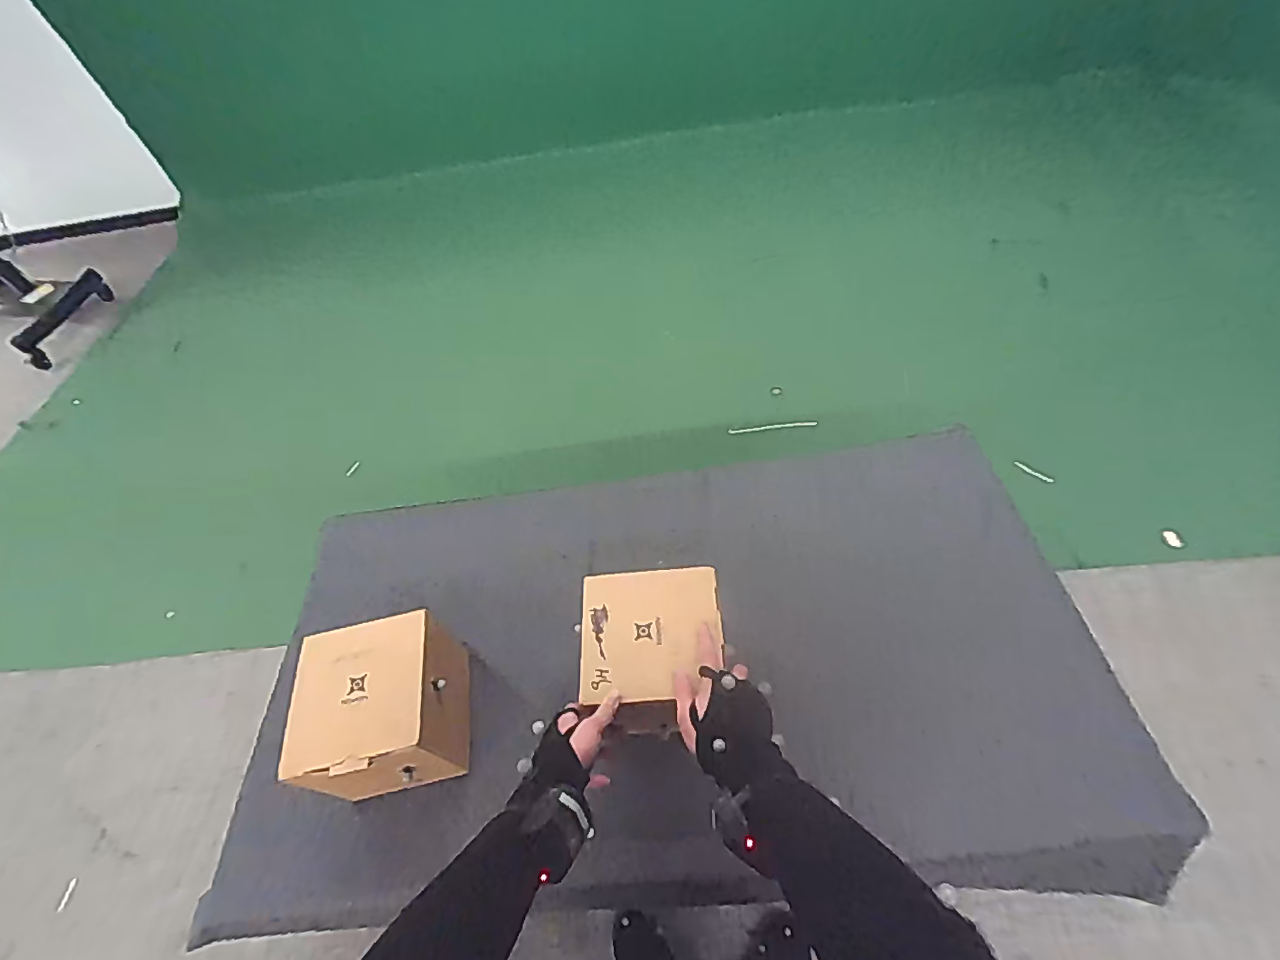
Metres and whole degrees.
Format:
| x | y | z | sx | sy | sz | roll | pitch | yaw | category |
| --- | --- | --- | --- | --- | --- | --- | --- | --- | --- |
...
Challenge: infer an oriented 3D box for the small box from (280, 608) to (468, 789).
| x | y | z | sx | sy | sz | roll | pitch | yaw | category |
| --- | --- | --- | --- | --- | --- | --- | --- | --- | --- |
| -0.342 | 0.303 | 0.735 | 0.168 | 0.176 | 0.179 | -13 | 51 | -3 | small box |

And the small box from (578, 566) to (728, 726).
| x | y | z | sx | sy | sz | roll | pitch | yaw | category |
| --- | --- | --- | --- | --- | --- | --- | --- | --- | --- |
| 0.021 | 0.229 | 0.732 | 0.179 | 0.176 | 0.168 | -5 | 55 | 5 | small box |
